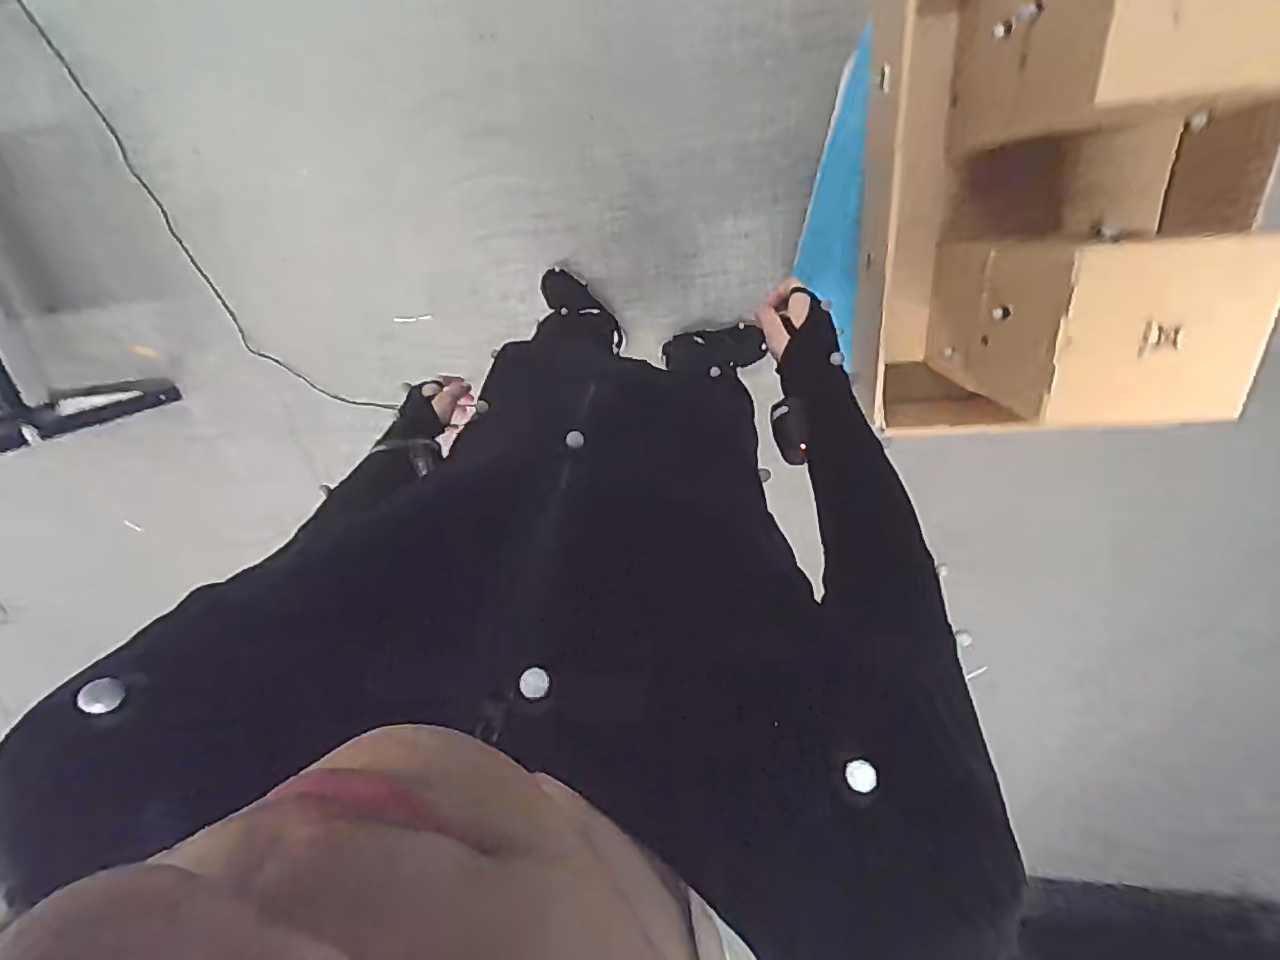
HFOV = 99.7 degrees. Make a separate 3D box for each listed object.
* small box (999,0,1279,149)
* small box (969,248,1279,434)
[{"bbox_3d":[0.460,-0.404,0.474,0.179,0.176,0.168,-1,113,9],"label":"small box"},{"bbox_3d":[0.490,-0.153,0.575,0.179,0.176,0.168,0,113,8],"label":"small box"}]
